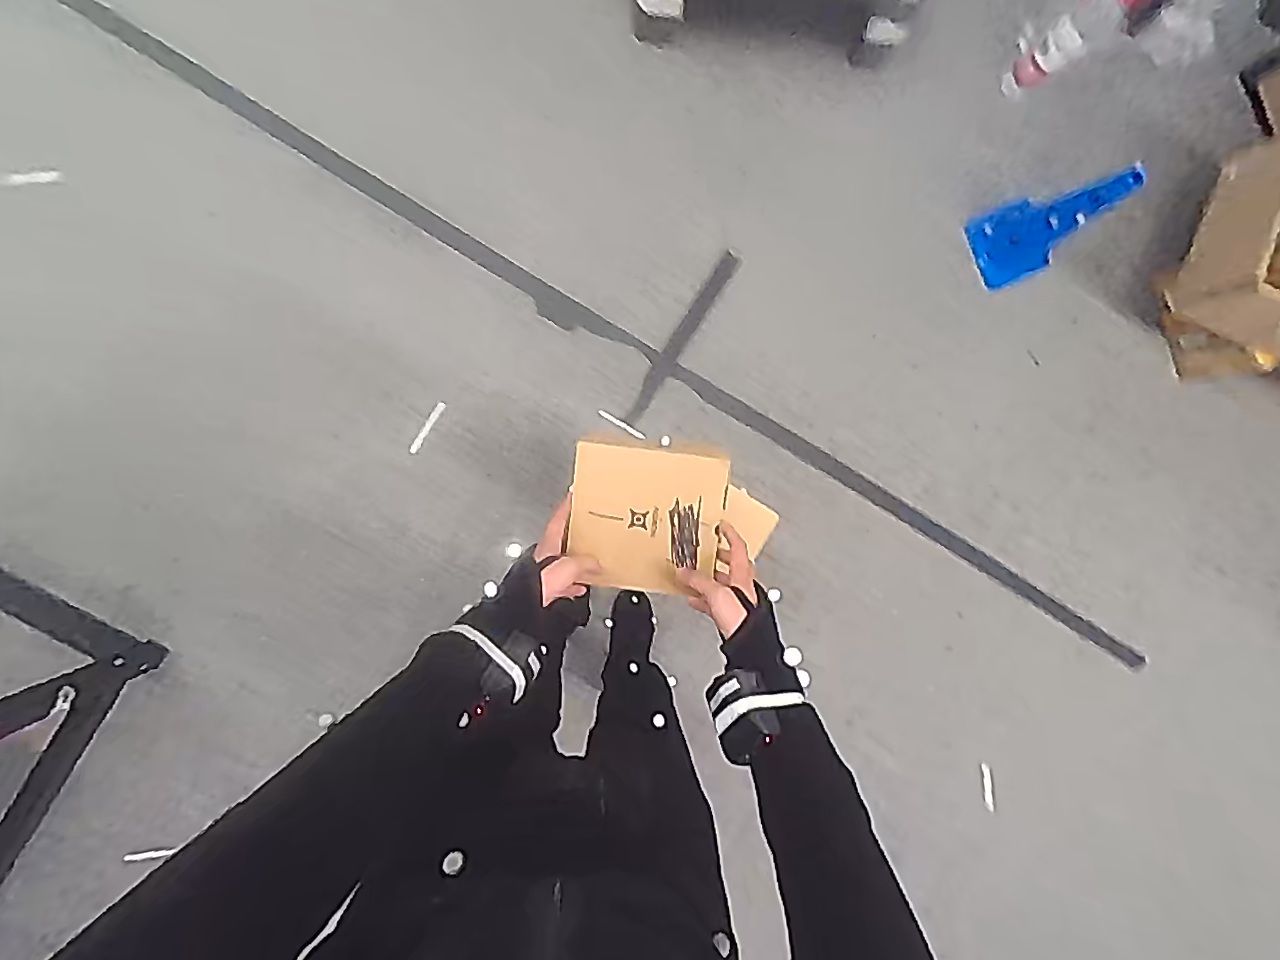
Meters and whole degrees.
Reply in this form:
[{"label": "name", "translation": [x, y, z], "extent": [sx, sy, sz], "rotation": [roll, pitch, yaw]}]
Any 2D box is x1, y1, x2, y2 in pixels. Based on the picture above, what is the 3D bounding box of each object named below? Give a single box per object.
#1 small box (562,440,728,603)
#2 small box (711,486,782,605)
[{"label": "small box", "translation": [0.005, 0.042, 0.692], "extent": [0.179, 0.176, 0.168], "rotation": [6, 99, 1]}, {"label": "small box", "translation": [0.128, 0.100, 1.011], "extent": [0.168, 0.176, 0.179], "rotation": [32, 89, -5]}]
